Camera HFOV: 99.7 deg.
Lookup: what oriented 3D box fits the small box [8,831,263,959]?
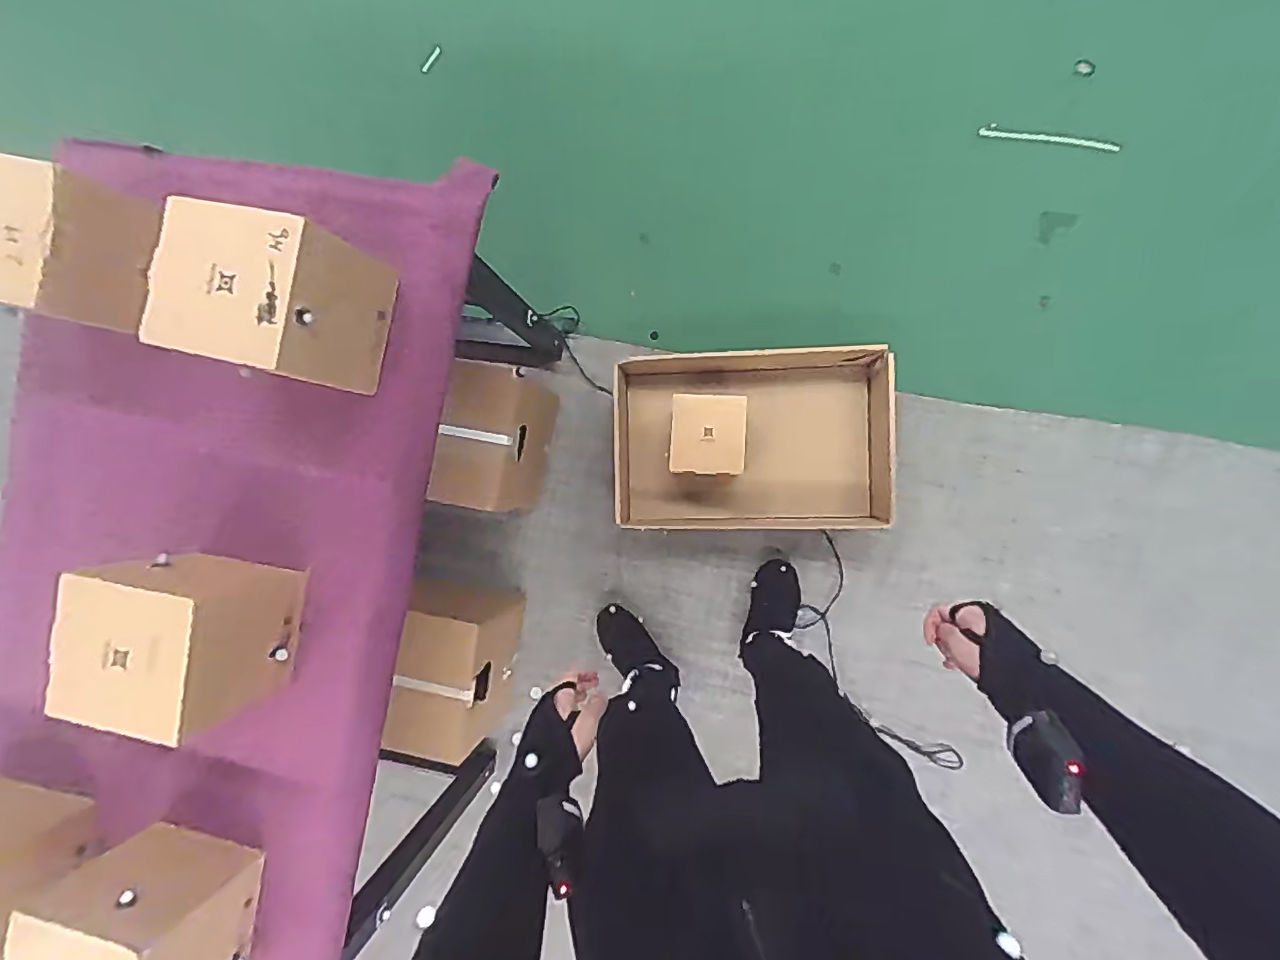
[{"bbox_3d":[-0.616,0.578,0.672,0.179,0.176,0.168,9,89,9],"label":"small box"}]

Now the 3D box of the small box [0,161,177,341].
[{"bbox_3d":[-0.731,-0.286,0.704,0.179,0.176,0.168,12,93,6],"label":"small box"}]

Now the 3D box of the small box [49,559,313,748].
[{"bbox_3d":[-0.556,0.199,0.675,0.179,0.176,0.168,9,91,8],"label":"small box"}]

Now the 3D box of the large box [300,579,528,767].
[{"bbox_3d":[-0.529,0.445,1.332,0.408,0.320,0.320,8,89,9],"label":"large box"}]

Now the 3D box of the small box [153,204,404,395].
[{"bbox_3d":[-0.429,-0.208,0.664,0.179,0.176,0.168,13,92,10],"label":"small box"}]
